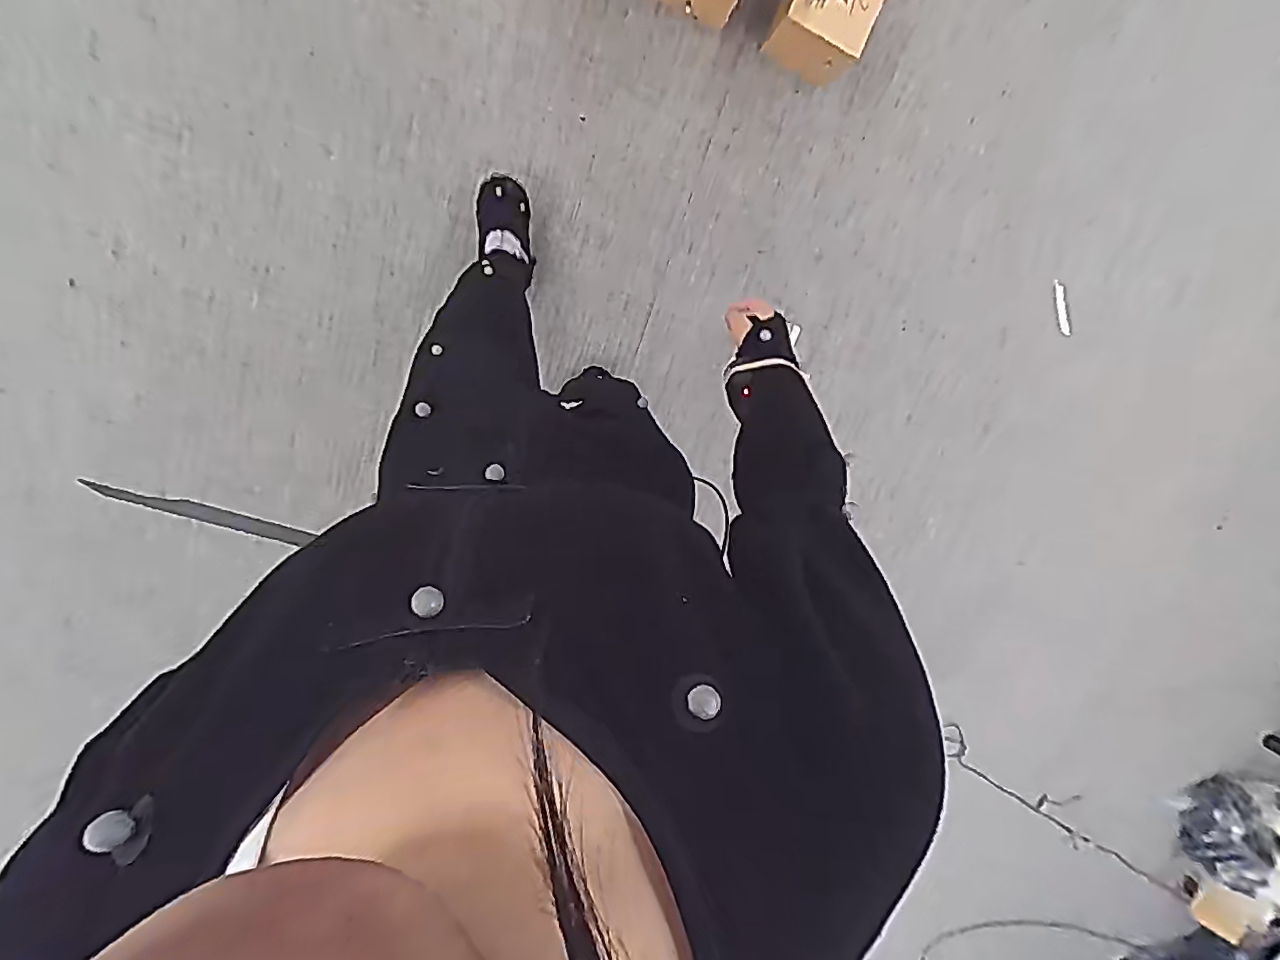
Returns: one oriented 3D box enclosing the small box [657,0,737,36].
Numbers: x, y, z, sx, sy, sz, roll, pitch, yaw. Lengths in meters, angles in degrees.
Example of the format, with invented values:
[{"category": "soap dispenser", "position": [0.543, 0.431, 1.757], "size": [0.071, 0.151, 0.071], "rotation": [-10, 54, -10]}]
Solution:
[{"category": "small box", "position": [0.140, -1.063, 1.091], "size": [0.168, 0.176, 0.179], "rotation": [21, 106, -12]}]
